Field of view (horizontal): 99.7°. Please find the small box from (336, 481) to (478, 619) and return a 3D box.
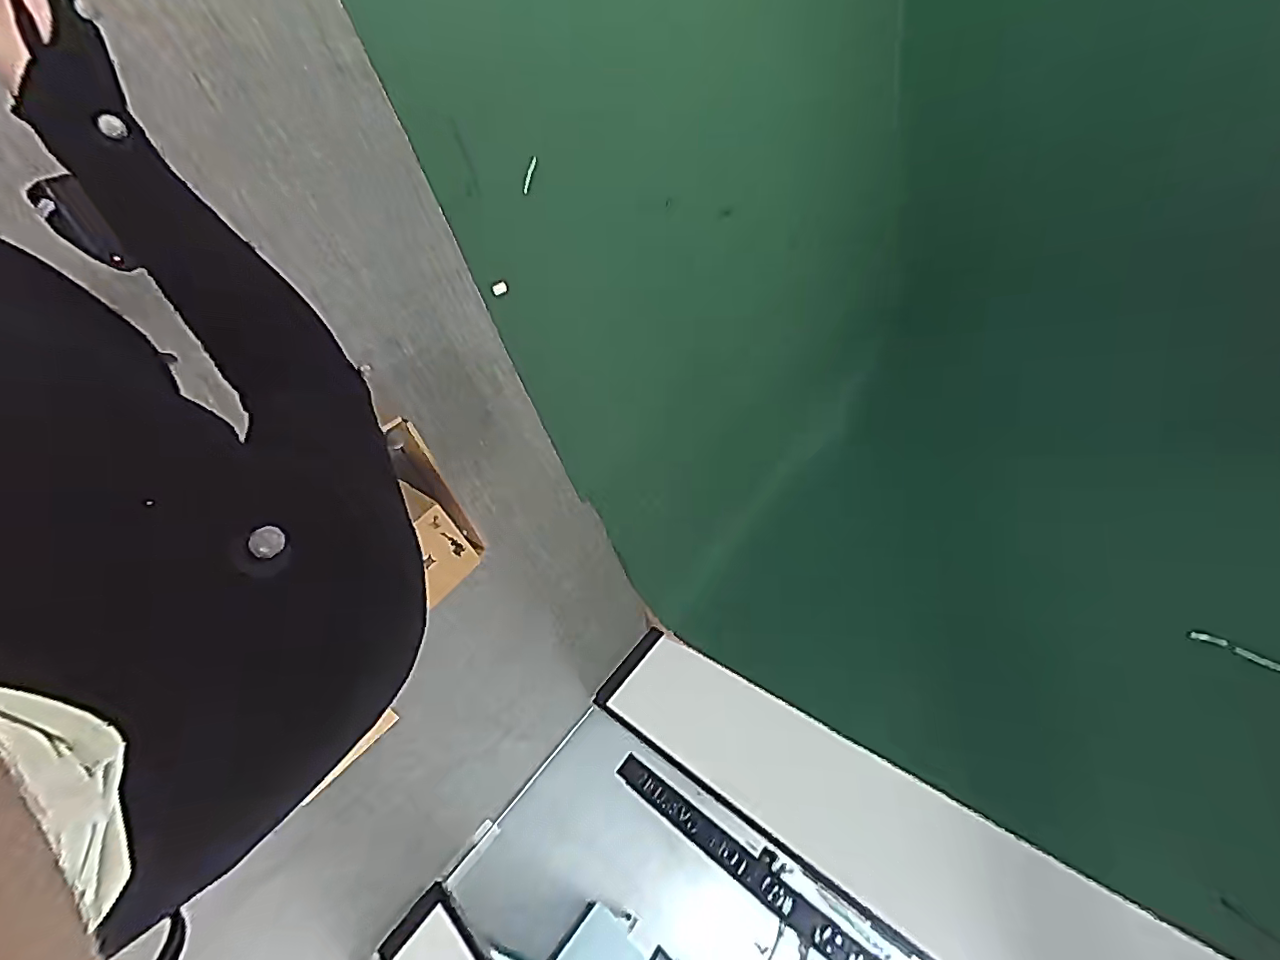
[{"bbox_3d":[-0.459,0.129,1.052,0.179,0.176,0.168,-44,131,-25],"label":"small box"}]
